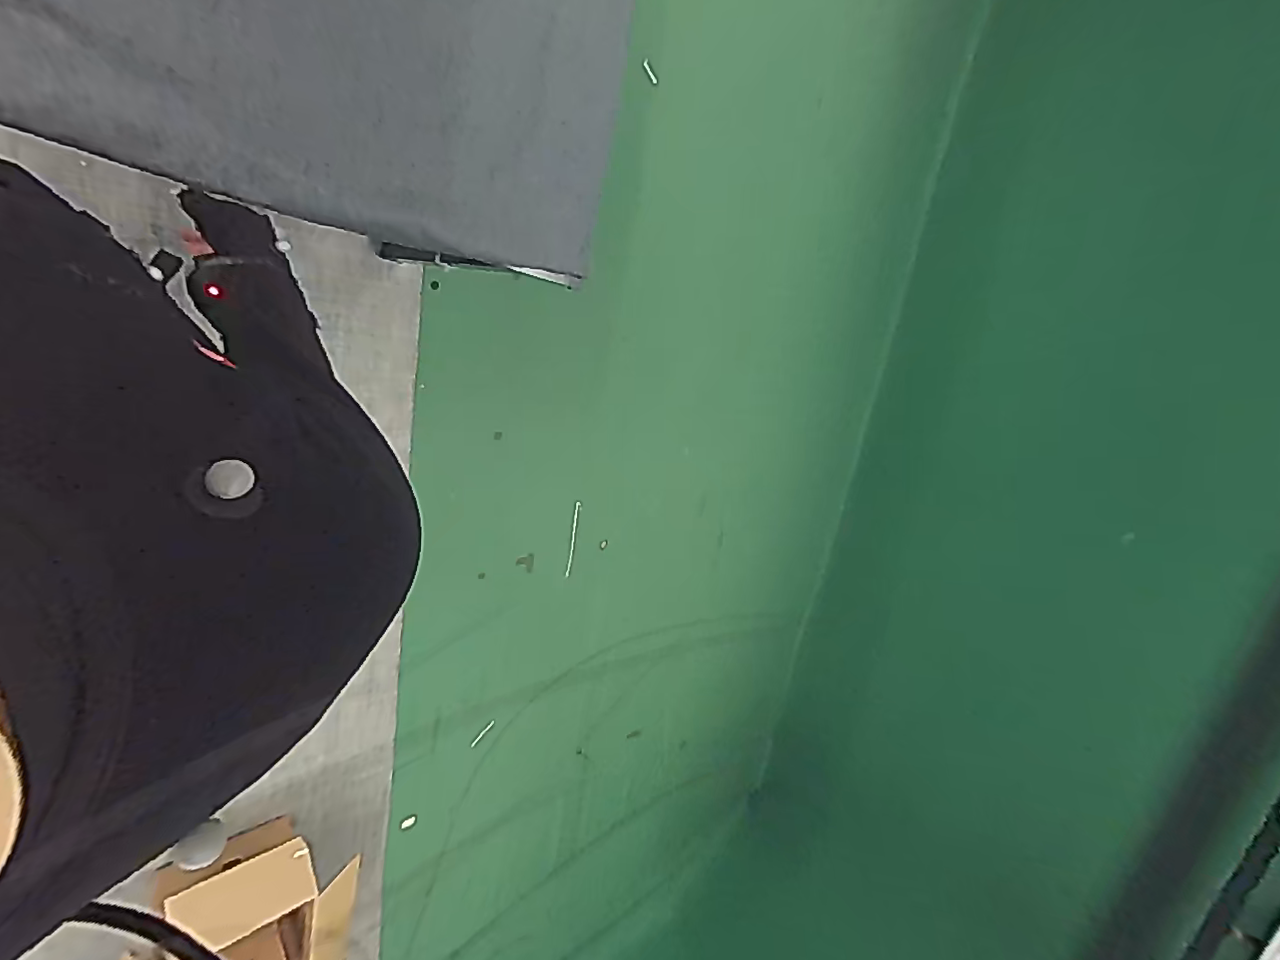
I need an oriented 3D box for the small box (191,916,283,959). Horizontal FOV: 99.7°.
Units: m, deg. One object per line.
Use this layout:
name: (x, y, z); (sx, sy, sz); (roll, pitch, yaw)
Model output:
small box: (-1.029, 1.276, 1.369); (0.179, 0.176, 0.168); (0, 107, -47)
